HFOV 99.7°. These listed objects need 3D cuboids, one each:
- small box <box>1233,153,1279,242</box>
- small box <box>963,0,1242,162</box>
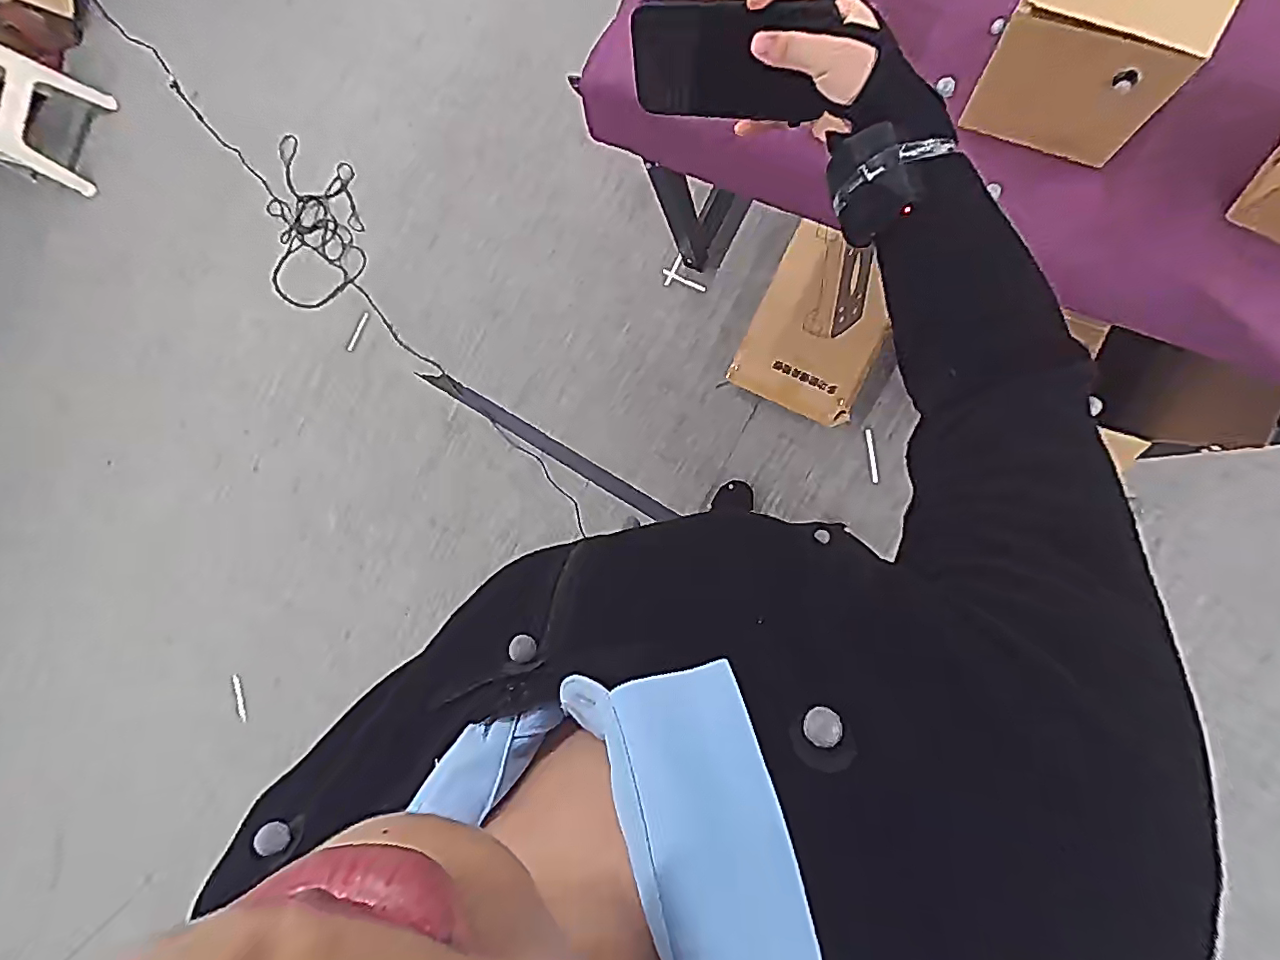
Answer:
[{"bbox_3d":[0.761,-0.321,0.517,0.179,0.176,0.168,35,97,12],"label":"small box"},{"bbox_3d":[0.498,-0.486,0.586,0.179,0.176,0.168,28,92,13],"label":"small box"}]
